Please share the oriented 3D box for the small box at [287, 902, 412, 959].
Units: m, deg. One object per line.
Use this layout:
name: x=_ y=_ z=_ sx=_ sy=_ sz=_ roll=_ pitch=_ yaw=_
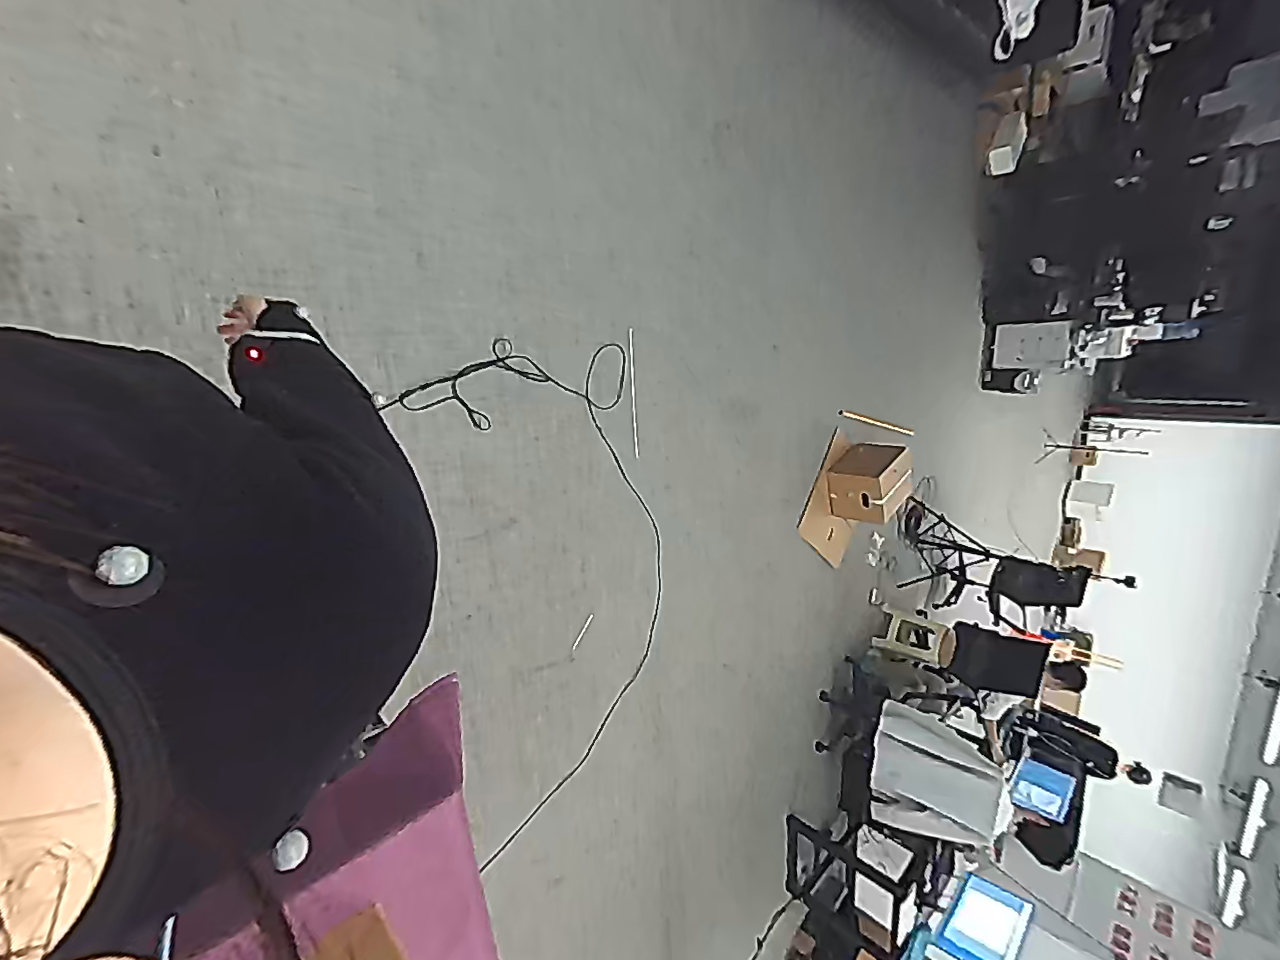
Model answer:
small box: x=-0.408 y=0.757 z=0.755 sx=0.179 sy=0.176 sz=0.168 roll=-15 pitch=109 yaw=-40
